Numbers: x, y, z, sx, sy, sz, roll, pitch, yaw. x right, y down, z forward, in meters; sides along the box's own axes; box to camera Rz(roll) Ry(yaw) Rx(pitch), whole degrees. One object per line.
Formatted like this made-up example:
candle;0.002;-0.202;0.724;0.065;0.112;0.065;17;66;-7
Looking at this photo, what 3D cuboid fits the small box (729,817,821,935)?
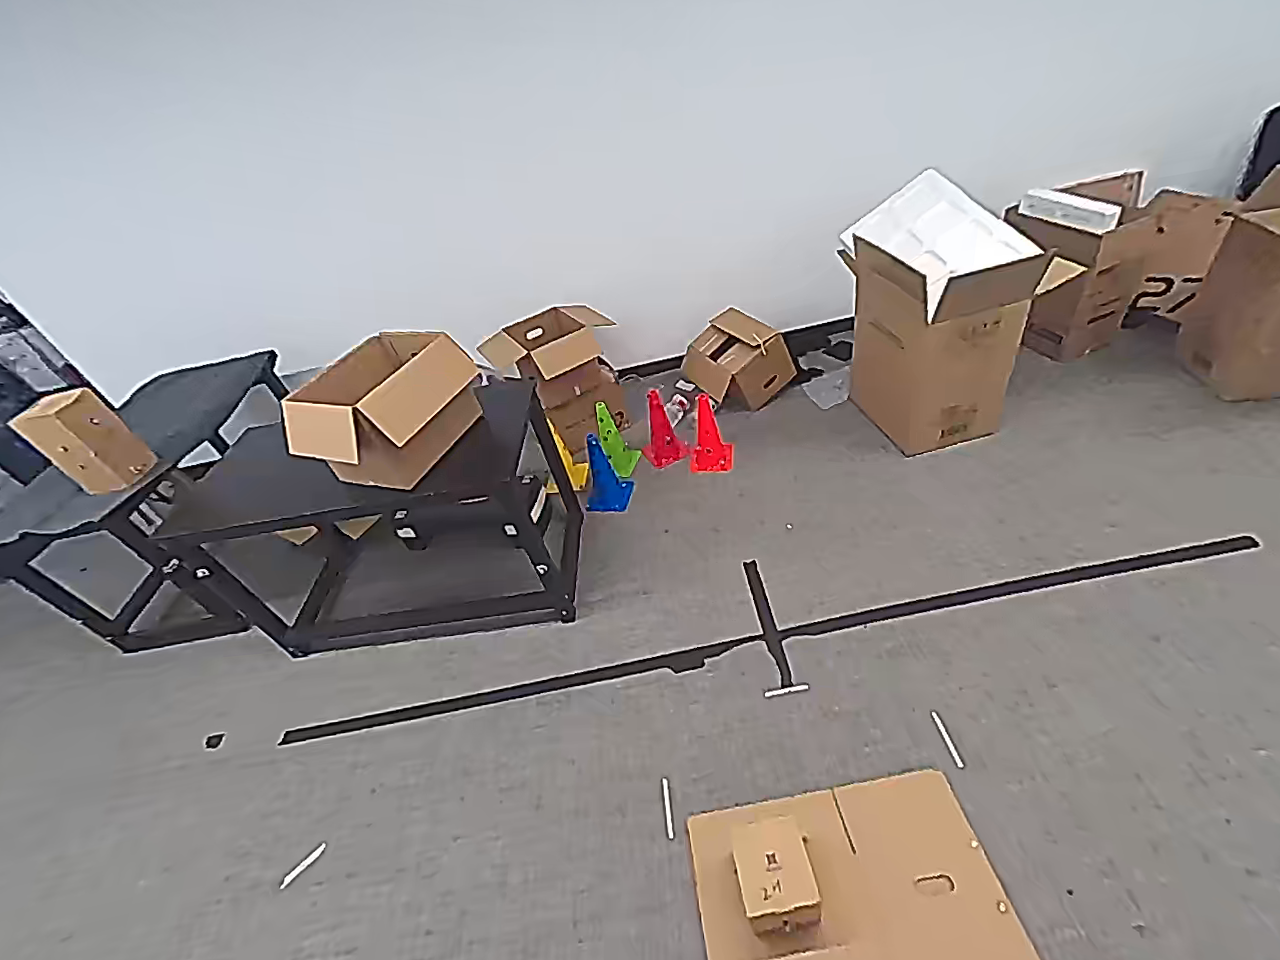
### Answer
small box;0.313;0.930;1.270;0.168;0.176;0.179;-14;40;3
